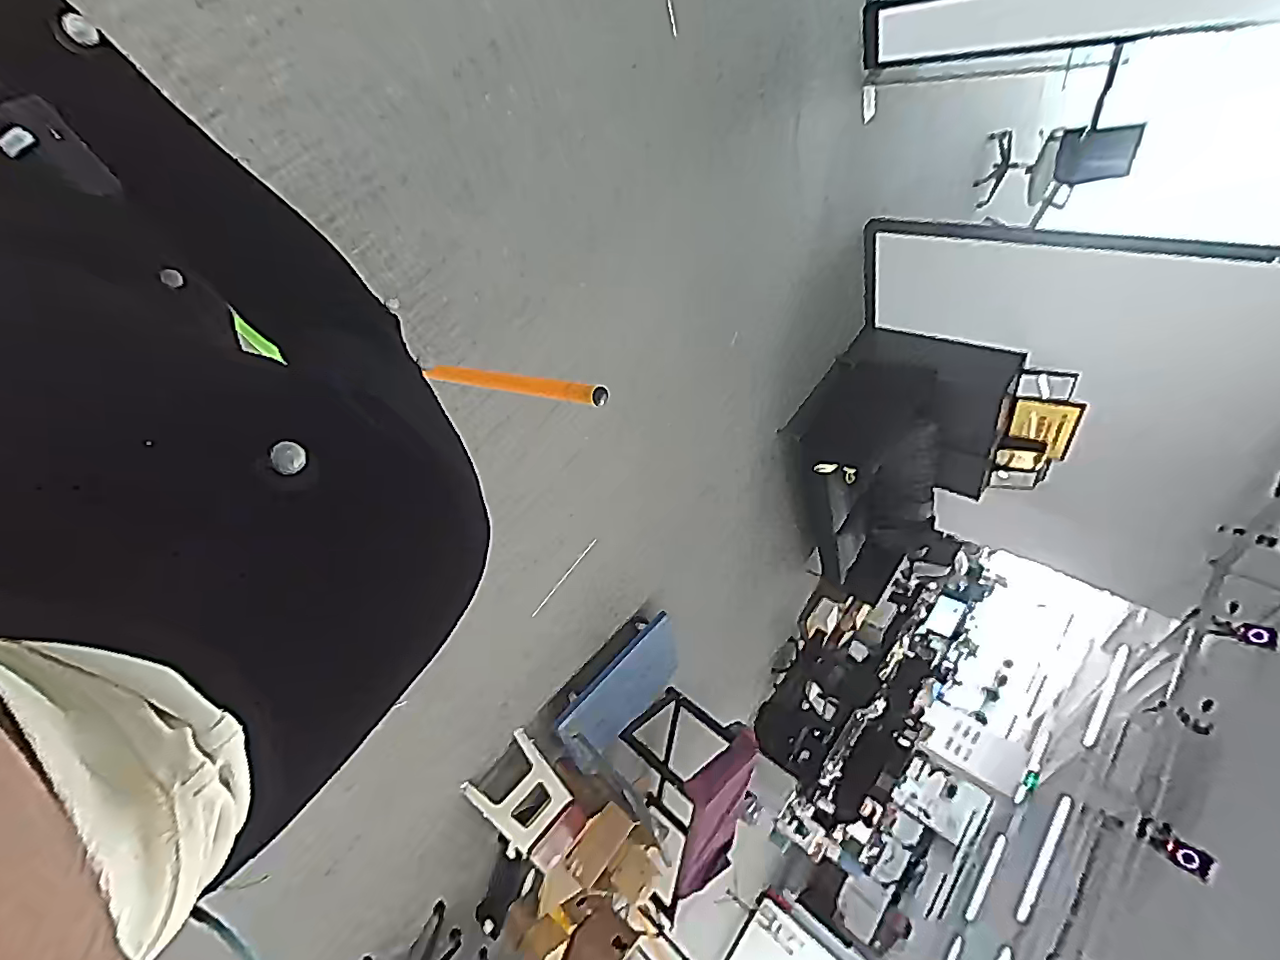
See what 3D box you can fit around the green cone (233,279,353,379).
[{"bbox_3d":[-0.791,-0.333,1.318,0.202,0.368,0.200,-49,141,-18],"label":"green cone"}]
